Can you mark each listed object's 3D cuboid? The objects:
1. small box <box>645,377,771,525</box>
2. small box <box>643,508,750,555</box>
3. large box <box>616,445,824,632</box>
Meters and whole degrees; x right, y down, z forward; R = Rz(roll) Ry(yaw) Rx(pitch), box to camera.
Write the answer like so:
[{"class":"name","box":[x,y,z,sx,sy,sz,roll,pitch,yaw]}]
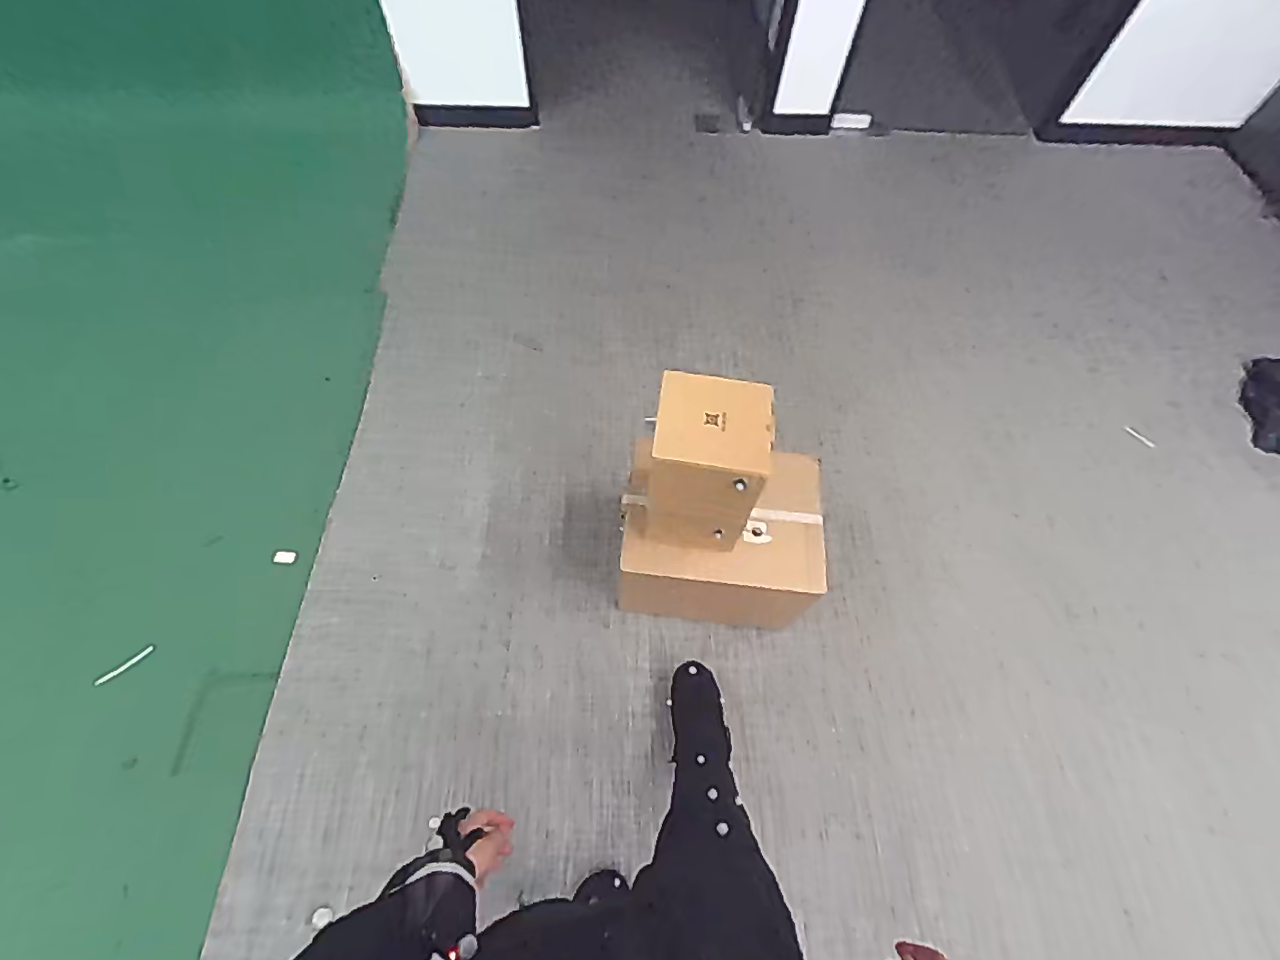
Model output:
[{"class":"small box","box":[0.105,-0.041,0.876,0.179,0.176,0.168,8,60,0]},{"class":"small box","box":[0.104,0.033,1.021,0.179,0.176,0.168,6,60,1]},{"class":"large box","box":[0.160,0.145,1.239,0.408,0.320,0.320,7,62,-1]}]
